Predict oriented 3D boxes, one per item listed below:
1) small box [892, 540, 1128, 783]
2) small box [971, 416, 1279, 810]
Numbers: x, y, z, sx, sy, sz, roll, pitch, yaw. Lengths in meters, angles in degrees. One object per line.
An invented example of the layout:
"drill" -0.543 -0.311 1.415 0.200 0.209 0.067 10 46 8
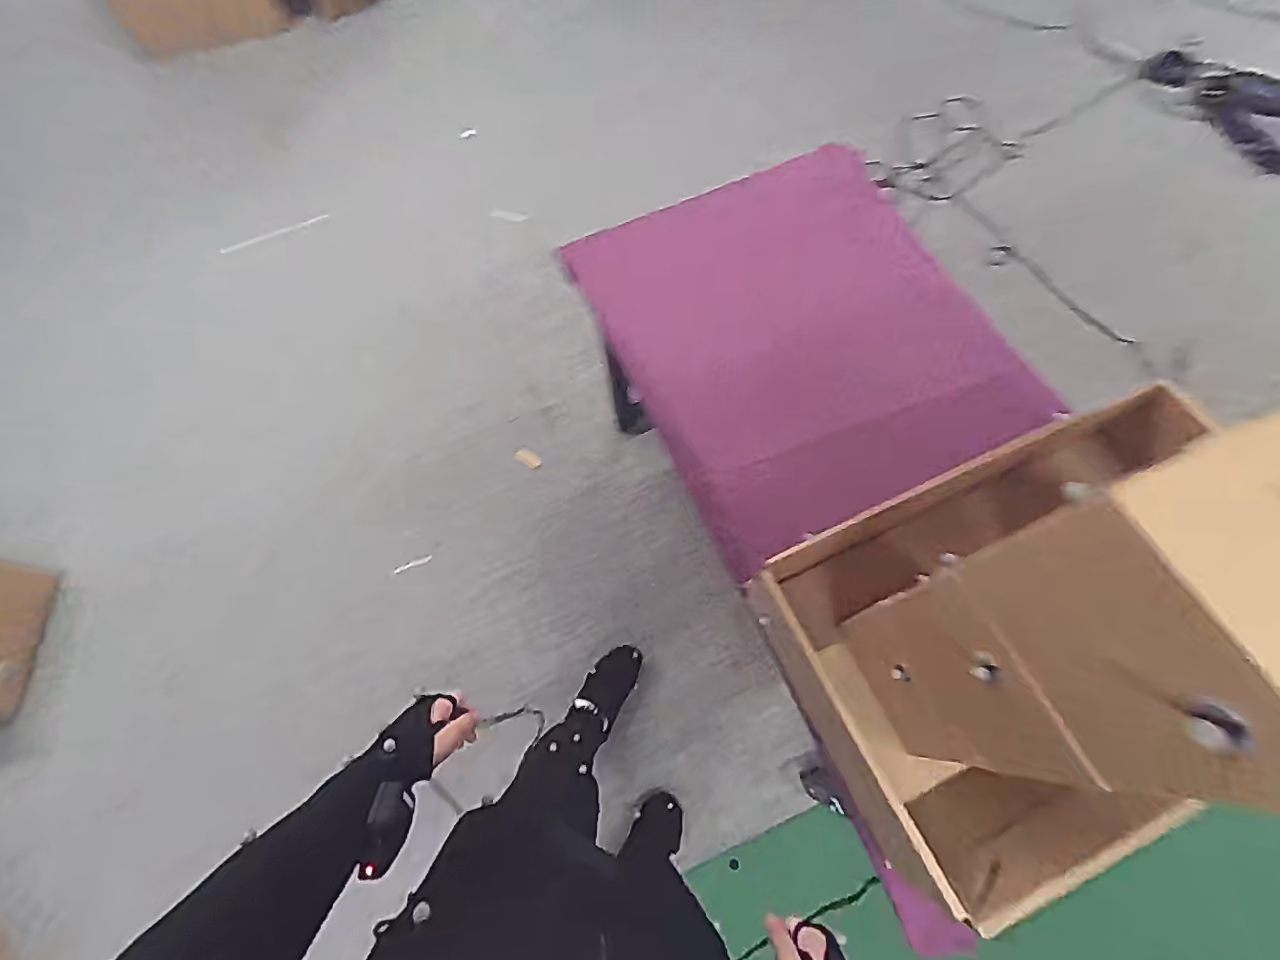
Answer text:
"small box" 0.369 0.149 0.495 0.168 0.176 0.179 -21 67 -6
"small box" 0.366 0.082 0.344 0.168 0.176 0.179 -22 66 -7
